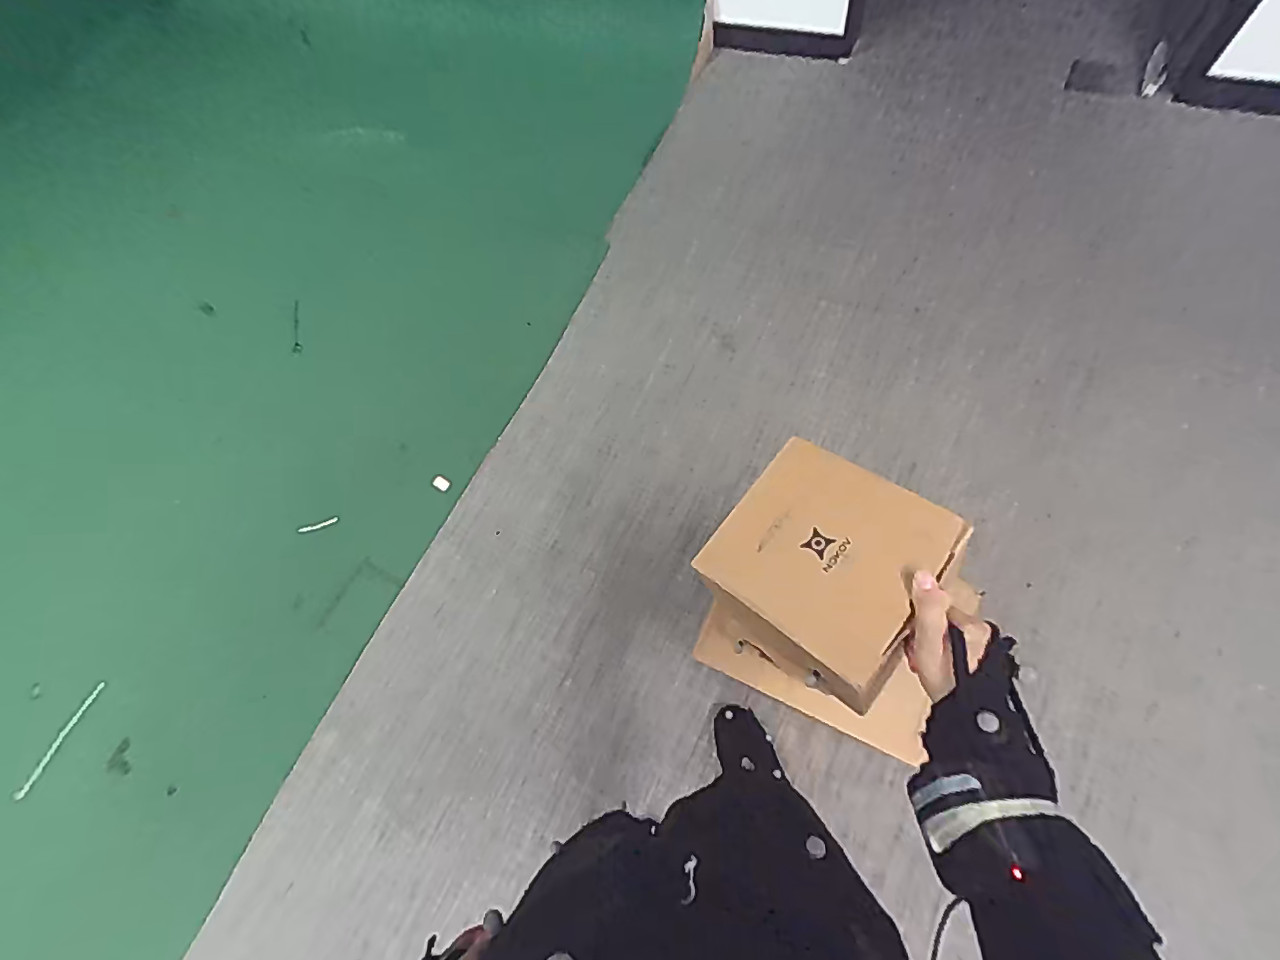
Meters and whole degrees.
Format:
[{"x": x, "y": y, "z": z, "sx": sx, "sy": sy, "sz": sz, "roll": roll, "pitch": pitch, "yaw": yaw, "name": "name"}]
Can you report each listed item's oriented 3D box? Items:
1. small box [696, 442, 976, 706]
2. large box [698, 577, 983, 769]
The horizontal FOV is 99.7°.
[{"x": 0.187, "y": 0.099, "z": 0.531, "sx": 0.179, "sy": 0.176, "sz": 0.168, "roll": 32, "pitch": 76, "yaw": 33, "name": "small box"}, {"x": 0.357, "y": 0.298, "z": 1.059, "sx": 0.408, "sy": 0.320, "sz": 0.320, "roll": 22, "pitch": 75, "yaw": 16, "name": "large box"}]
